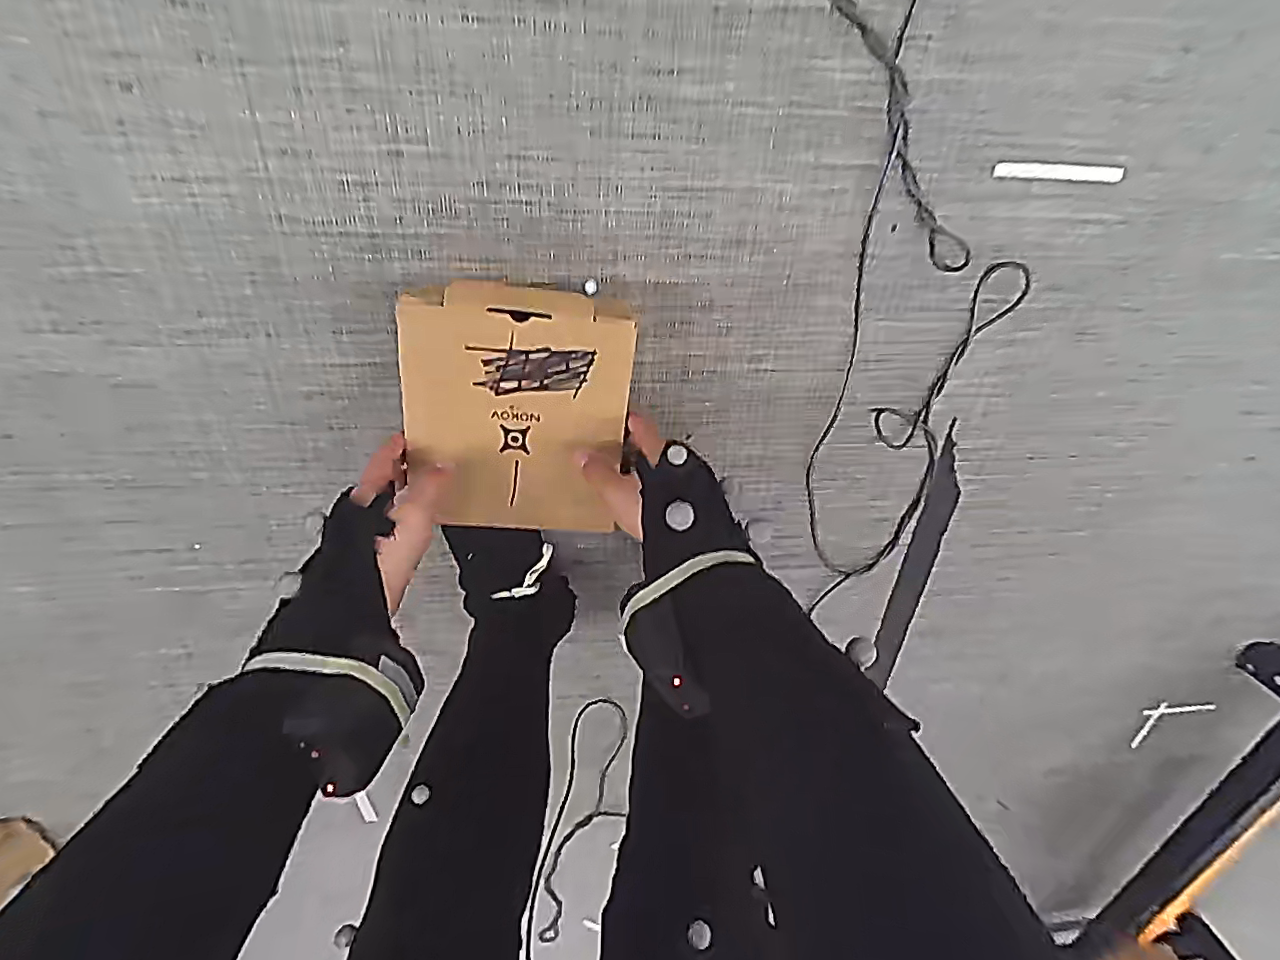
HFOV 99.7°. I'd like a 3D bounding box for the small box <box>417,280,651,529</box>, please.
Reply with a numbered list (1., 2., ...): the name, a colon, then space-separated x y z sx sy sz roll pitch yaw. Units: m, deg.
1. small box: -0.092 -0.076 0.481 0.168 0.176 0.179 4 113 -9
